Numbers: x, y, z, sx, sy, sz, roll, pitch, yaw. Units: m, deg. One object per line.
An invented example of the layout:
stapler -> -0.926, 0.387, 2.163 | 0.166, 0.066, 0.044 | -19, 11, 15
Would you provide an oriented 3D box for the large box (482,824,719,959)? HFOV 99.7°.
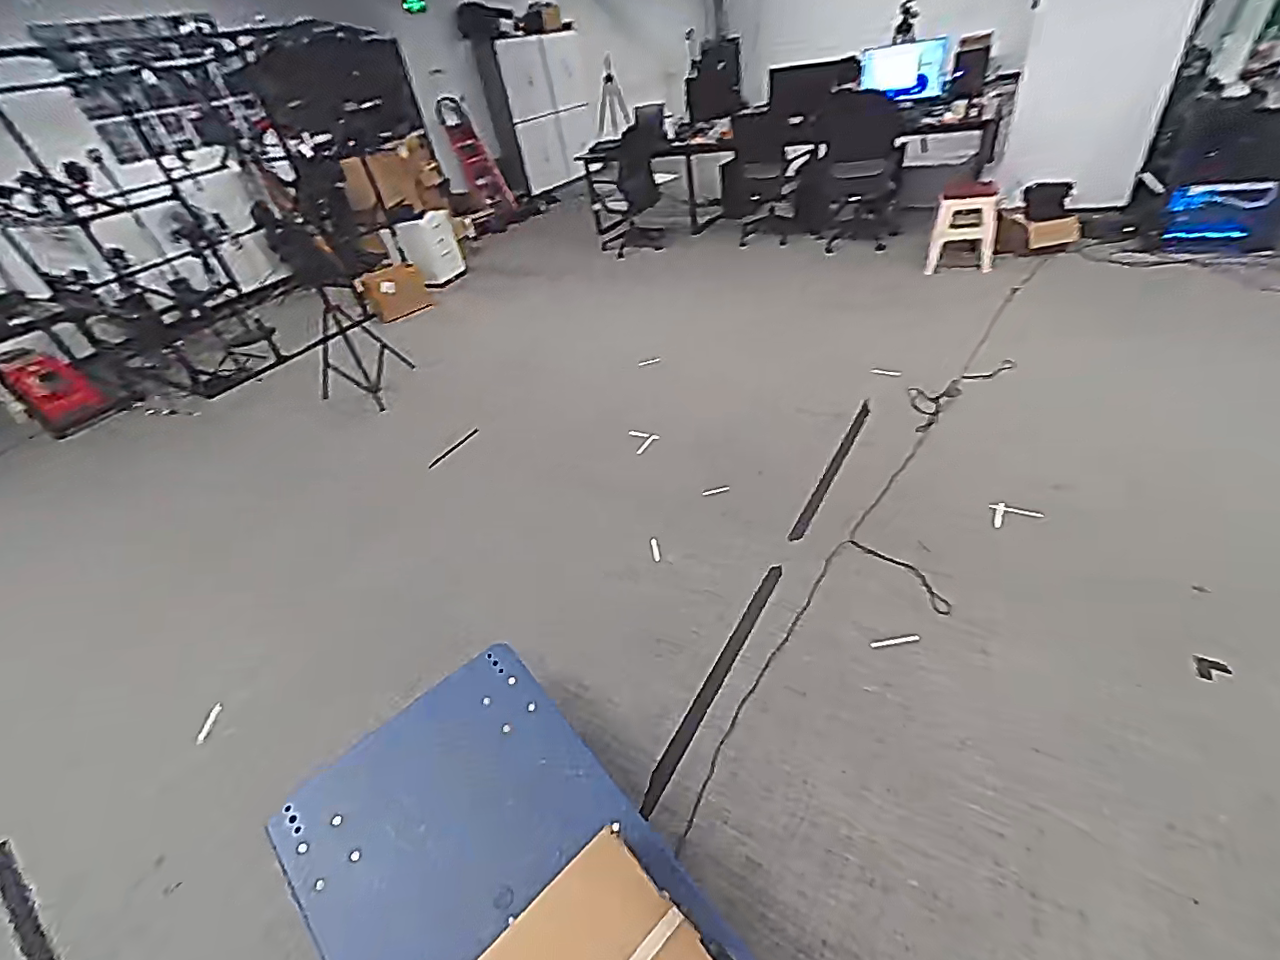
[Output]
large box -> -0.097, 0.847, 0.848 | 0.408, 0.320, 0.320 | -35, 64, -28
